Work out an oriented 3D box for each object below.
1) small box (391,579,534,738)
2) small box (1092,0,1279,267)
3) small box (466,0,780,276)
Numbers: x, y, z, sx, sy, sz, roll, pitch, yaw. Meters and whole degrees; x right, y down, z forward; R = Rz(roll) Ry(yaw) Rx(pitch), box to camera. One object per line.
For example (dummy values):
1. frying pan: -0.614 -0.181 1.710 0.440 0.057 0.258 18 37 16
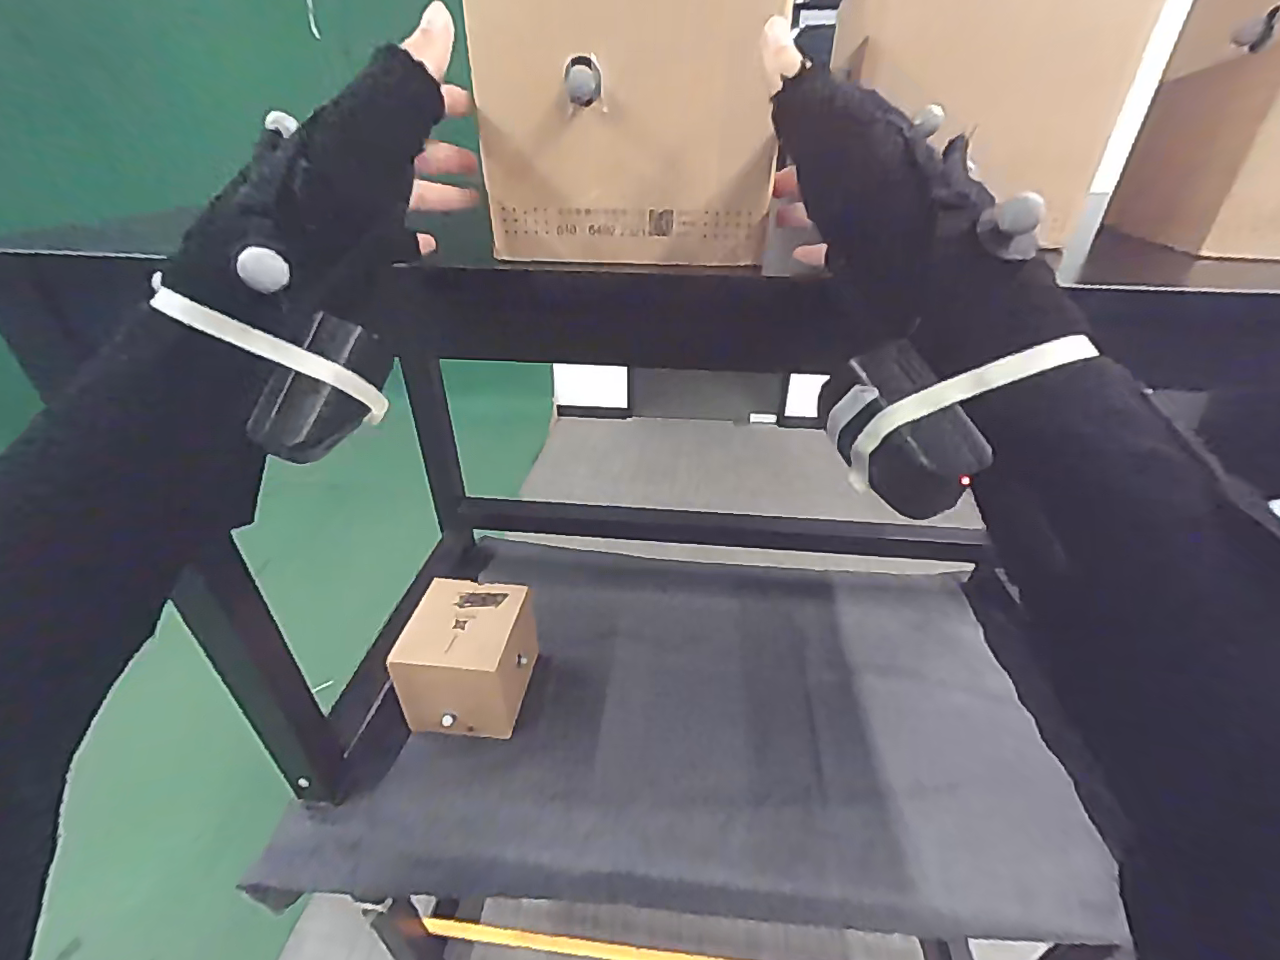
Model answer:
1. small box: -0.276 0.289 0.888 0.168 0.176 0.179 4 33 4
2. small box: 0.477 -0.249 0.384 0.168 0.176 0.179 10 33 14
3. small box: -0.002 -0.243 0.373 0.168 0.176 0.179 2 32 3
